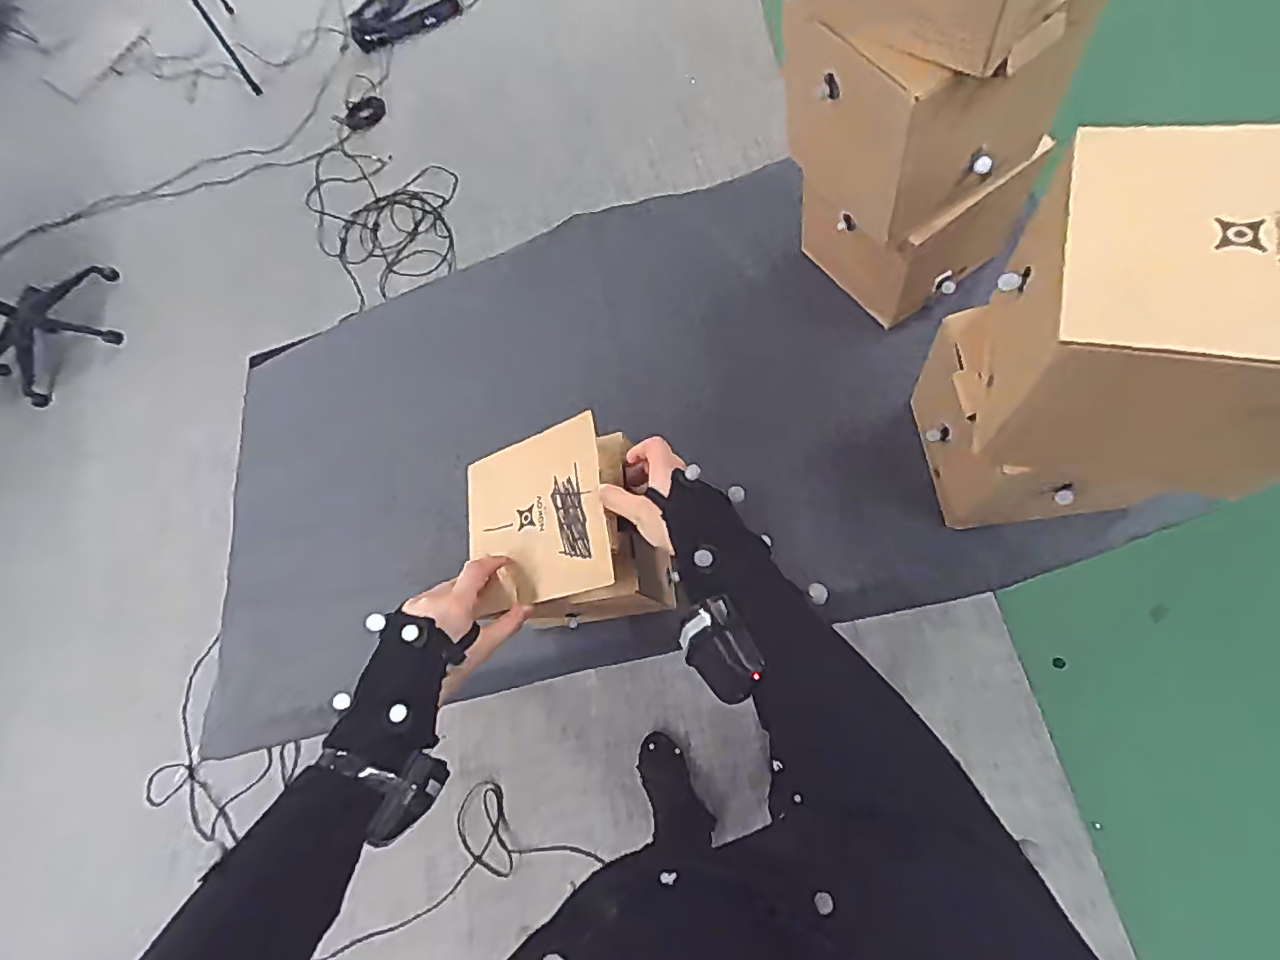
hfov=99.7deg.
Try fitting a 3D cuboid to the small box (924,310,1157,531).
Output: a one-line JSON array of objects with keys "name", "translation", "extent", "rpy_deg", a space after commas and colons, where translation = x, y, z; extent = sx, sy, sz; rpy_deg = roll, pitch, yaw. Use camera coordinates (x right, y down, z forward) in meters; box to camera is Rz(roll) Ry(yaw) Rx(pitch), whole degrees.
[{"name": "small box", "translation": [0.392, -0.056, 0.522], "extent": [0.179, 0.176, 0.168], "rpy_deg": [-9, 67, 13]}]

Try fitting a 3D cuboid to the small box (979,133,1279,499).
[{"name": "small box", "translation": [0.356, -0.099, 0.367], "extent": [0.179, 0.176, 0.168], "rpy_deg": [12, 73, 19]}]

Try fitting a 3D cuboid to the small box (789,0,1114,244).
[{"name": "small box", "translation": [0.252, -0.355, 0.482], "extent": [0.168, 0.176, 0.179], "rpy_deg": [-33, 67, 7]}]

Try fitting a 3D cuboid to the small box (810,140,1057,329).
[{"name": "small box", "translation": [0.314, -0.314, 0.630], "extent": [0.168, 0.176, 0.179], "rpy_deg": [-35, 68, 4]}]
